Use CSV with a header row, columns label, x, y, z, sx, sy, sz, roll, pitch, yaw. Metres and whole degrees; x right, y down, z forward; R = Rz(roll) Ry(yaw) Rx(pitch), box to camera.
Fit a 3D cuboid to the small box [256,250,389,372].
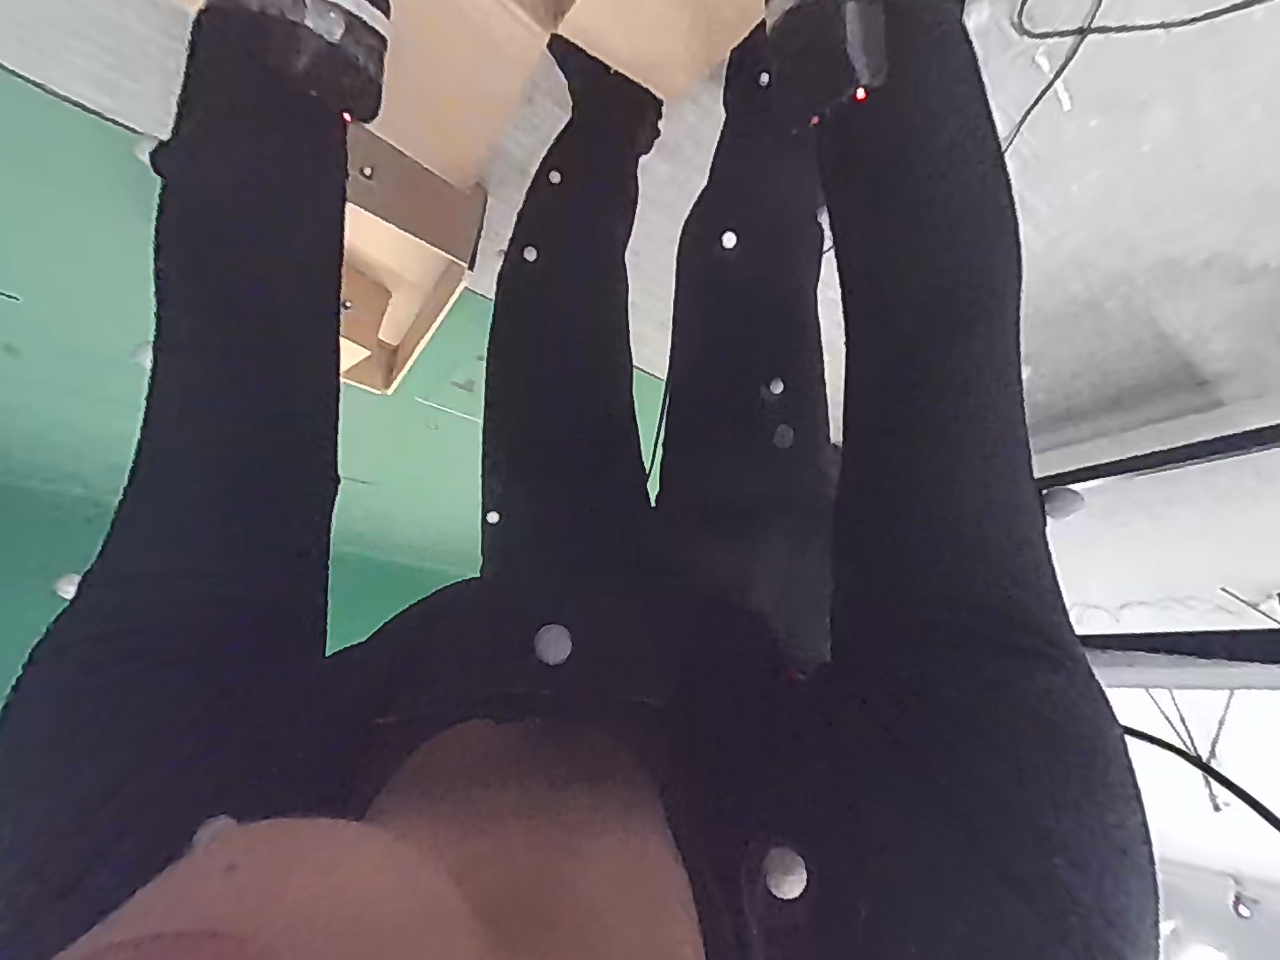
label,x,y,z,sx,sy,sz,roll,pitch,yaw
small box,-0.687,-0.372,1.184,0.168,0.176,0.179,-13,151,36
